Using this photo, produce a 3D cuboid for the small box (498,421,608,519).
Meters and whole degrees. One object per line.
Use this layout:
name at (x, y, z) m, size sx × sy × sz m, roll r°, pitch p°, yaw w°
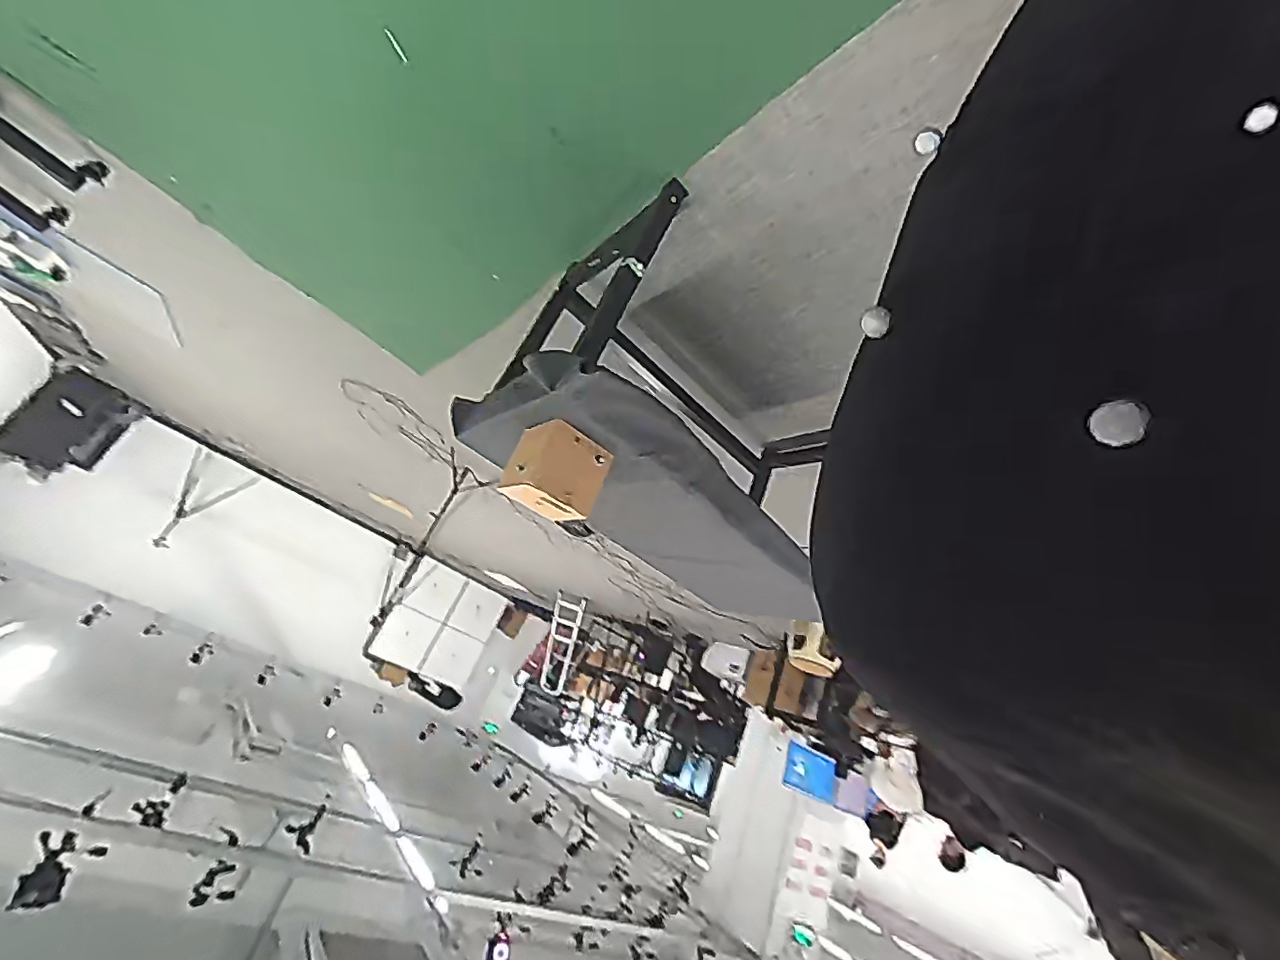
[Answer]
small box at (-0.196, -0.021, 1.264) m, size 0.168 × 0.176 × 0.179 m, roll 35°, pitch 156°, yaw -30°
